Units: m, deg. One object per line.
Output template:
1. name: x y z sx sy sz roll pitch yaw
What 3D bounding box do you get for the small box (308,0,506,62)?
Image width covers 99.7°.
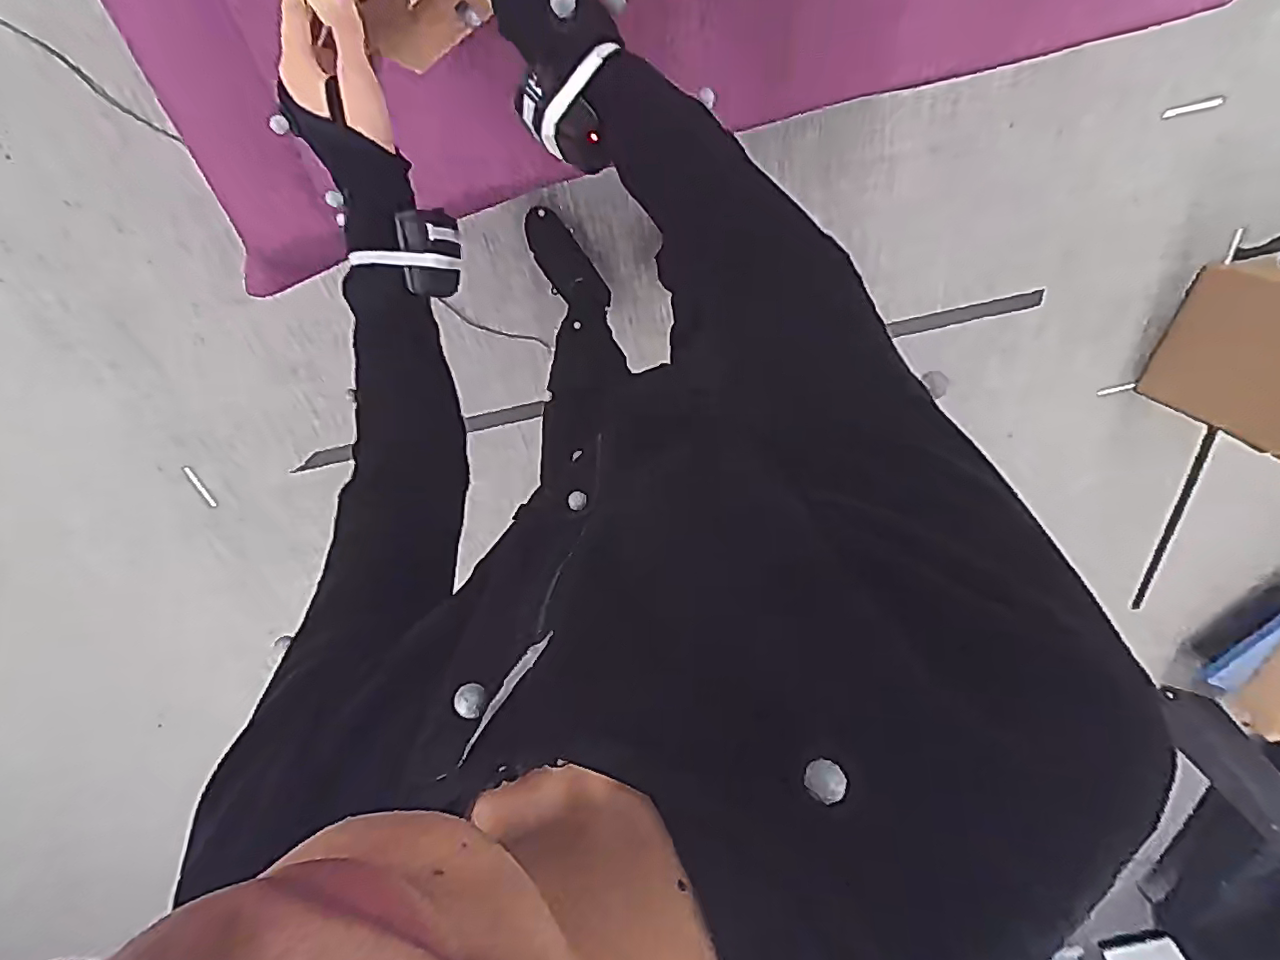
1. small box: -0.191 -0.458 0.395 0.168 0.176 0.179 -26 114 15
